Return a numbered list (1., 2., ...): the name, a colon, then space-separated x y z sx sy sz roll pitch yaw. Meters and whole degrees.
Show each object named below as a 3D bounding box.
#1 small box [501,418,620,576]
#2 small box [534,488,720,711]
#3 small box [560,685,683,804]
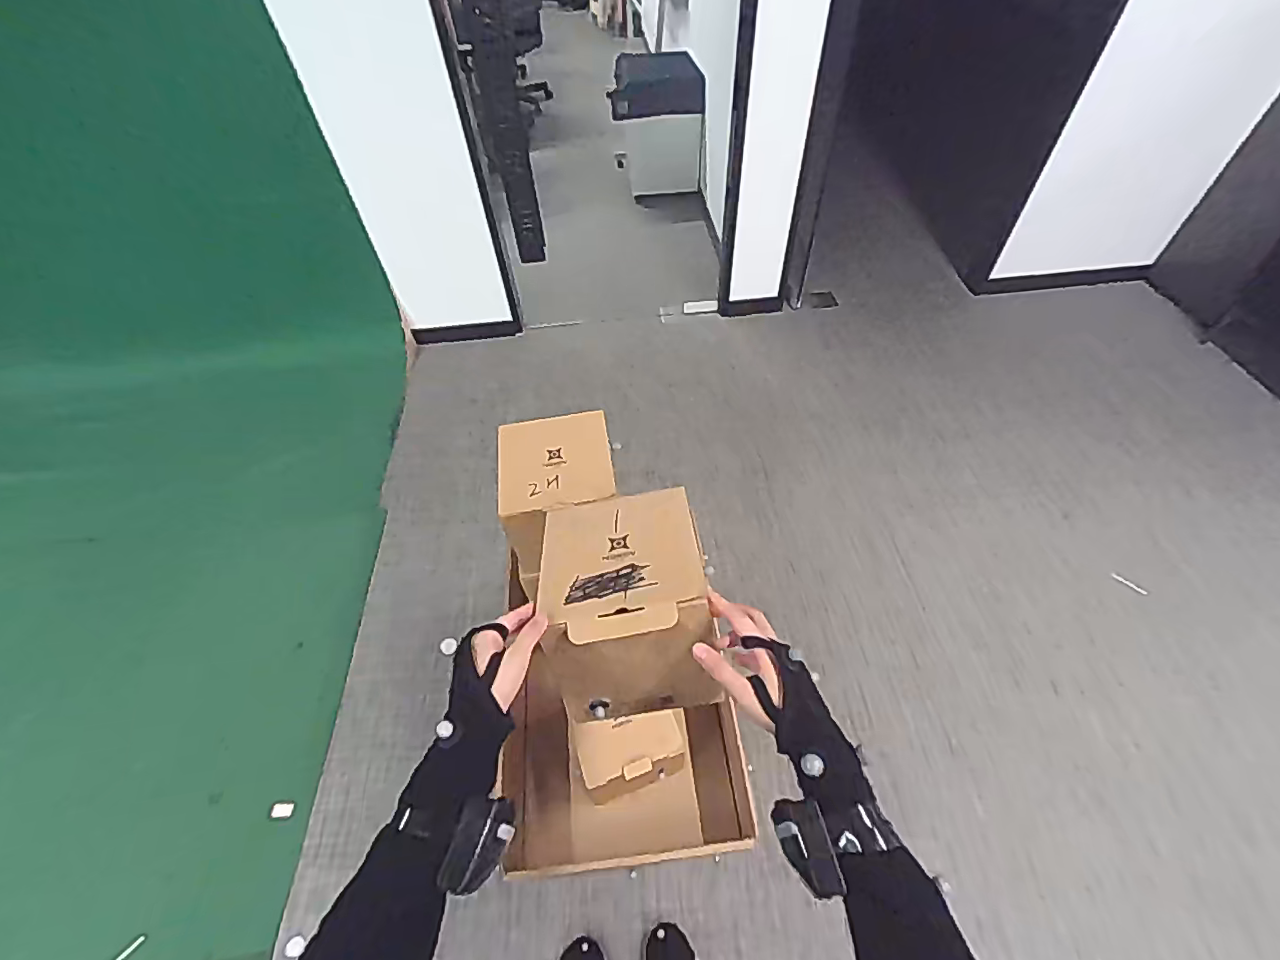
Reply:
1. small box: -0.117 0.029 0.858 0.168 0.176 0.179 -9 52 -2
2. small box: -0.008 0.138 0.606 0.168 0.176 0.179 -10 36 3
3. small box: -0.030 0.443 0.943 0.168 0.176 0.179 -16 52 -11
